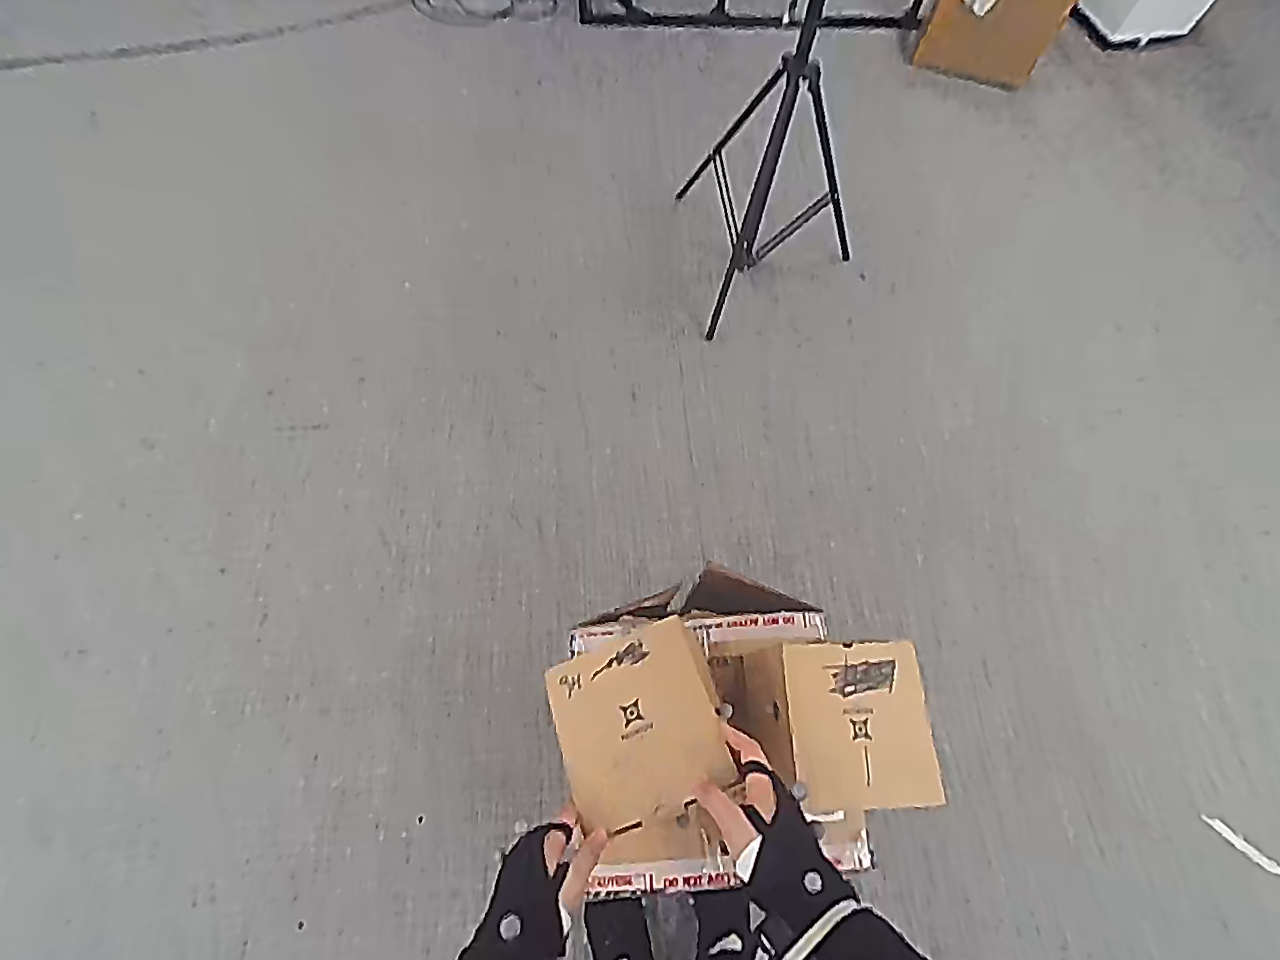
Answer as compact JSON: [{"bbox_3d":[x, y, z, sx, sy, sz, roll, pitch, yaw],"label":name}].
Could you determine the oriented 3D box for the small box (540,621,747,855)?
[{"bbox_3d":[0.011,0.289,0.619,0.168,0.176,0.179,-25,59,2],"label":"small box"}]

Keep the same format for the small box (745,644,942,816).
[{"bbox_3d":[0.238,0.307,0.683,0.168,0.176,0.179,1,68,-5],"label":"small box"}]
